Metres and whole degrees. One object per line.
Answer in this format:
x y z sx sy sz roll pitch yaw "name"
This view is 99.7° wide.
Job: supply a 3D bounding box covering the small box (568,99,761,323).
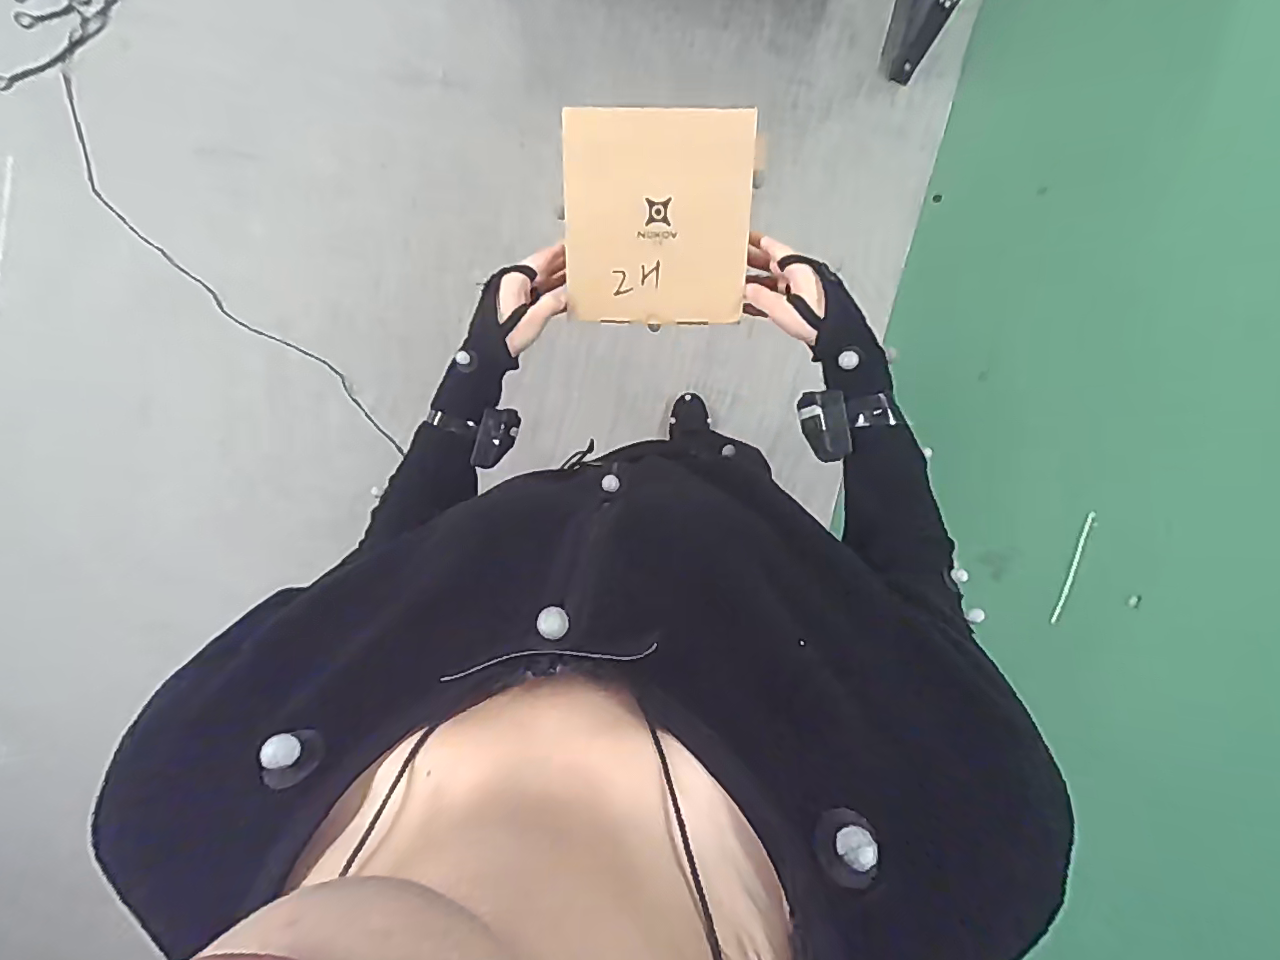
0.019 -0.258 0.552 0.168 0.176 0.179 2 110 2 "small box"
